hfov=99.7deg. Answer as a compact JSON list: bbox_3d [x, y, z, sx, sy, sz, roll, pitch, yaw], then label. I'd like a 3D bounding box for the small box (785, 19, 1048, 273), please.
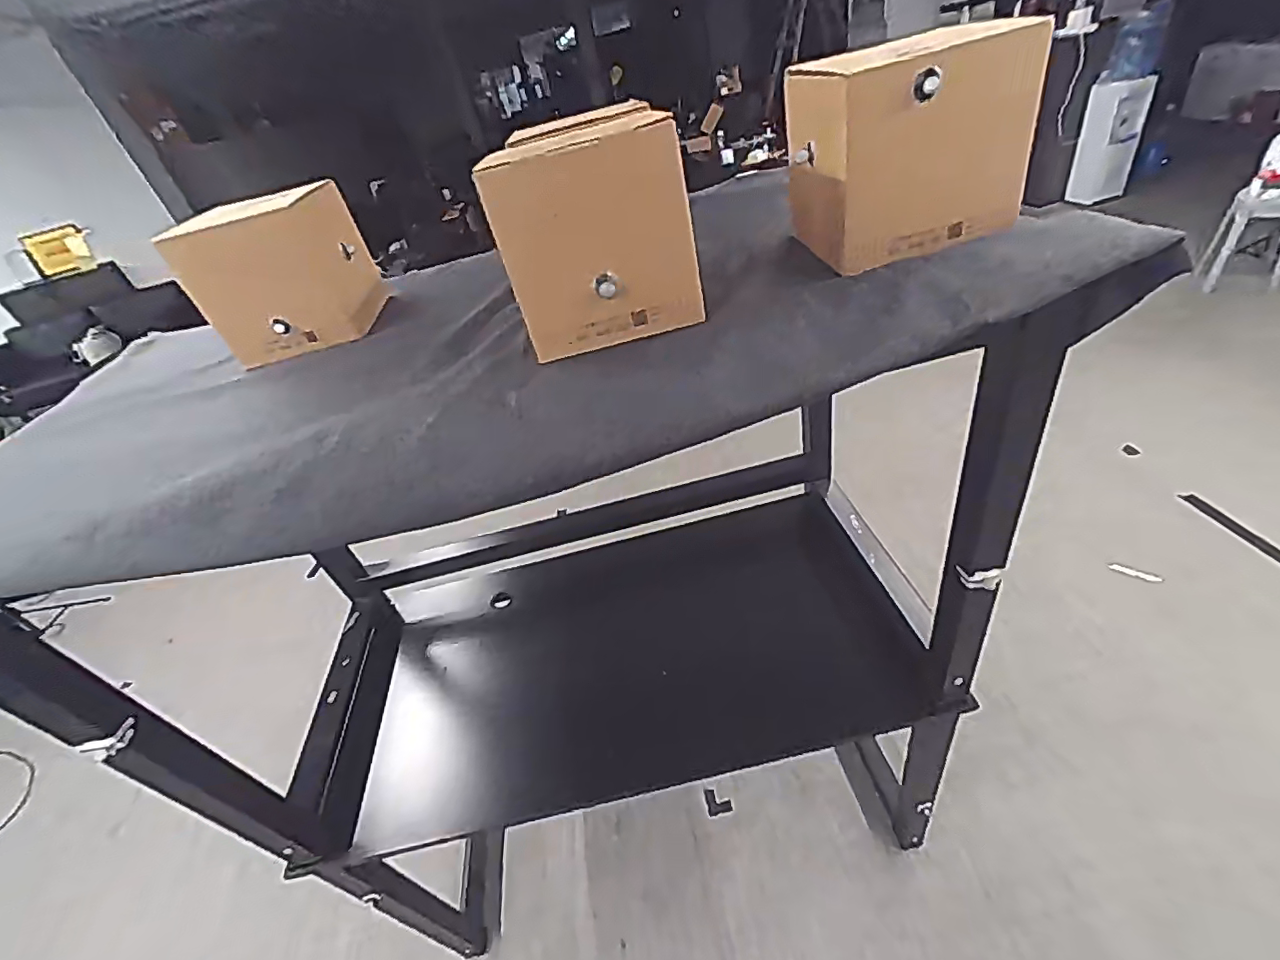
[{"bbox_3d":[0.251,-0.325,0.540,0.168,0.176,0.179,-13,36,4],"label":"small box"}]

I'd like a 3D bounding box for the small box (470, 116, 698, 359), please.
[{"bbox_3d":[-0.046,-0.241,0.536,0.168,0.176,0.179,-14,36,3],"label":"small box"}]

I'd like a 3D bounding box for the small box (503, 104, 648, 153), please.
[{"bbox_3d":[-0.067,-0.390,0.737,0.179,0.176,0.168,-13,37,2],"label":"small box"}]
